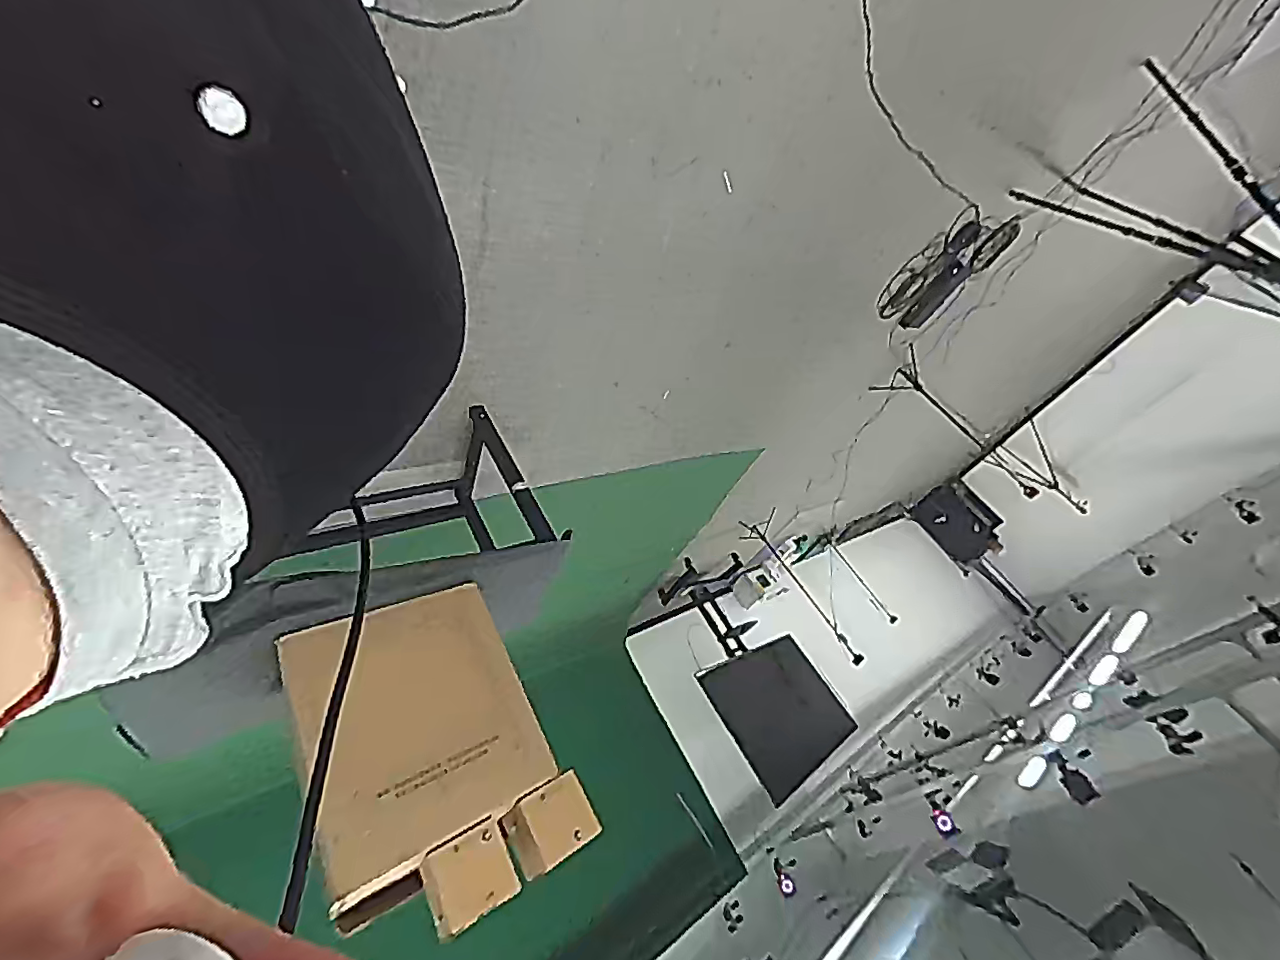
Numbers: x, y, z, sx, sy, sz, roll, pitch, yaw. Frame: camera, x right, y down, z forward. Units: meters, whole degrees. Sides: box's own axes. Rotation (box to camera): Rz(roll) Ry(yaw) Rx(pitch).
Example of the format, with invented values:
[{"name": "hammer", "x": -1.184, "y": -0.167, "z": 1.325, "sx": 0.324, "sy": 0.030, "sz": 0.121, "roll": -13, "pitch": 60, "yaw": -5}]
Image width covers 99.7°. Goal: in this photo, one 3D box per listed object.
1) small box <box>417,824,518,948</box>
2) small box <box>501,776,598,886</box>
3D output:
[{"name": "small box", "x": -0.417, "y": 0.957, "z": 1.285, "sx": 0.168, "sy": 0.176, "sz": 0.179, "roll": -12, "pitch": 146, "yaw": -38}, {"name": "small box", "x": -0.245, "y": 0.916, "z": 1.422, "sx": 0.168, "sy": 0.176, "sz": 0.179, "roll": -14, "pitch": 148, "yaw": -42}]
